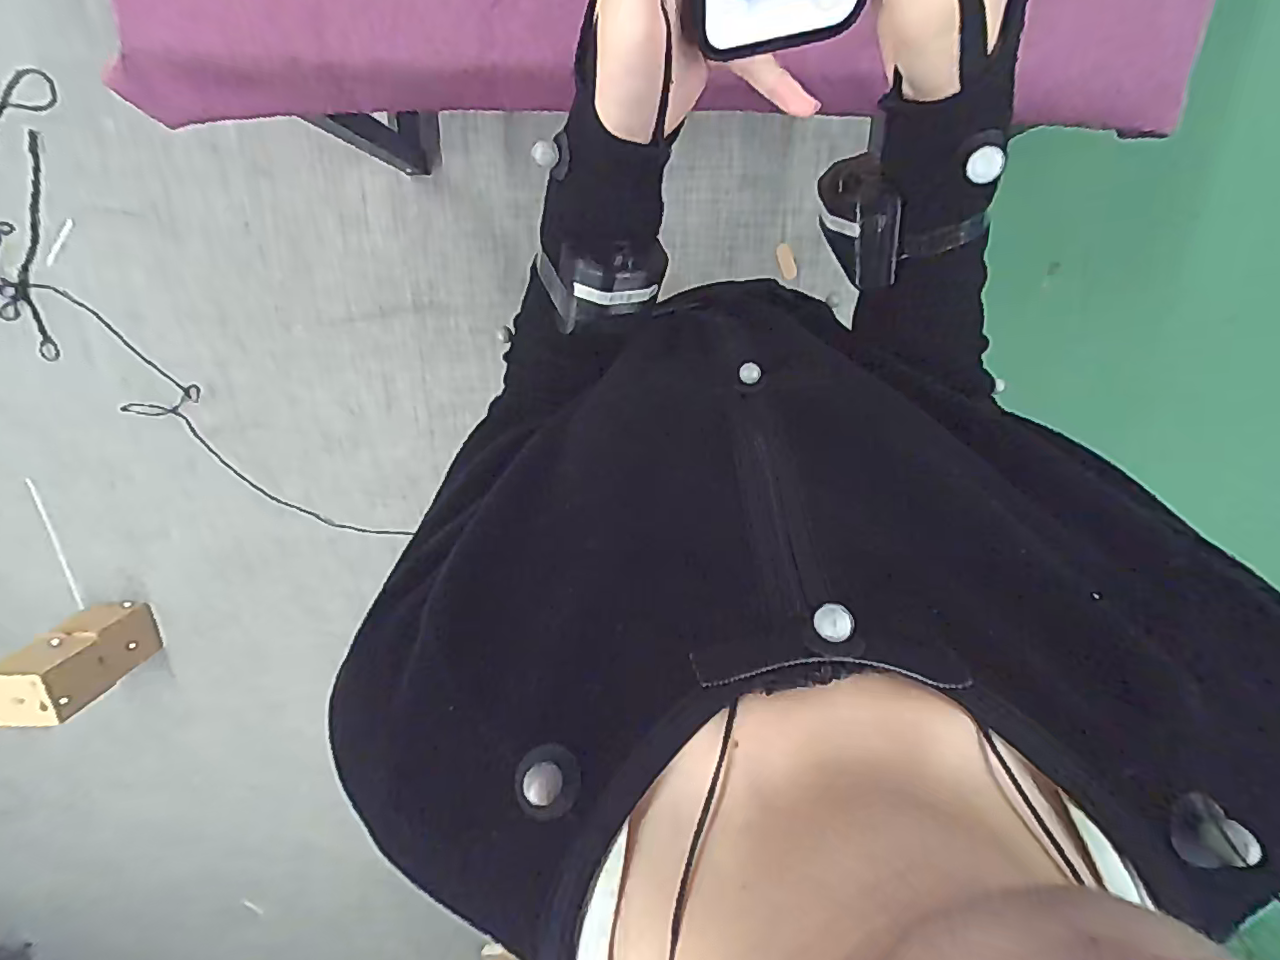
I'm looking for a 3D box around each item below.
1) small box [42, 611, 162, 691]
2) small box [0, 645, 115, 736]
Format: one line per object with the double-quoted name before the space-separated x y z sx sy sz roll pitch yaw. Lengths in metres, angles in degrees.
"small box" -1.609 0.511 1.629 0.168 0.176 0.179 0 109 2
"small box" -1.611 0.567 1.475 0.179 0.176 0.168 1 108 2
